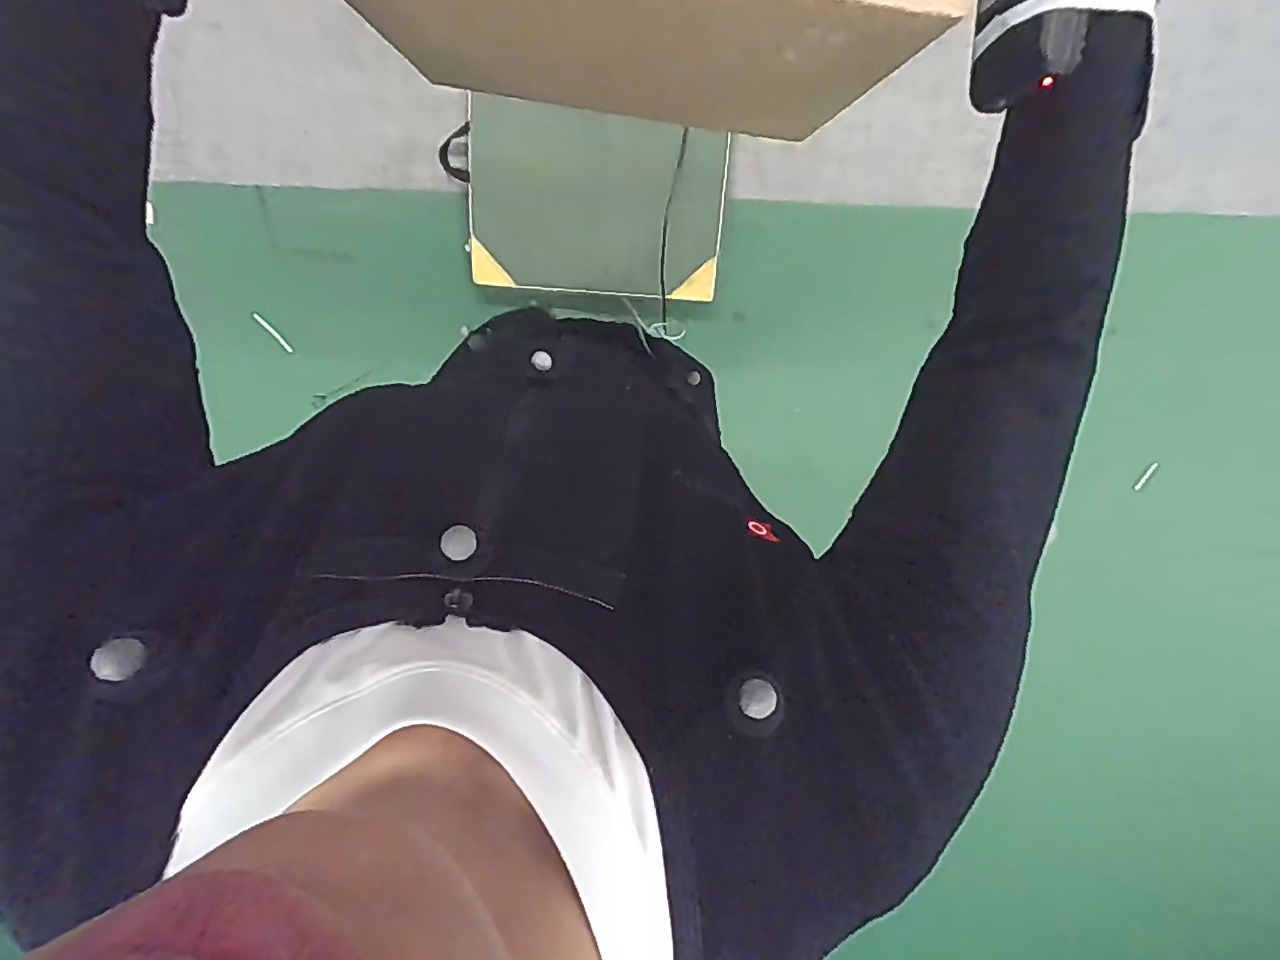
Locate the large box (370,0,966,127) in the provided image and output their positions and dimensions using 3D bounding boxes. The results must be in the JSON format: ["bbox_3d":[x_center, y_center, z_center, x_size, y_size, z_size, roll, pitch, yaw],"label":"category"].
[{"bbox_3d":[0.007,-0.487,0.384,0.408,0.320,0.320,6,112,-5],"label":"large box"}]
